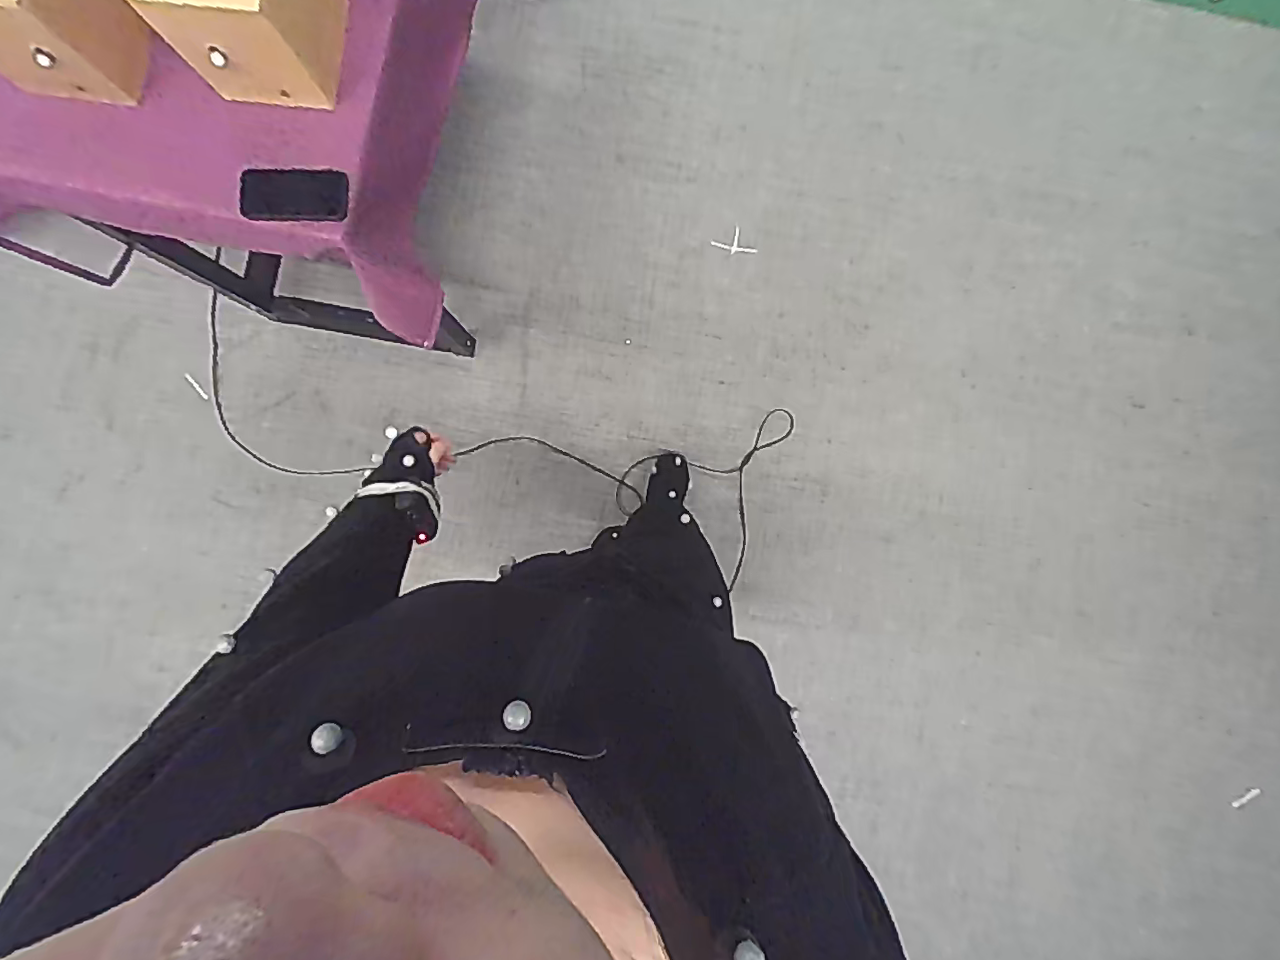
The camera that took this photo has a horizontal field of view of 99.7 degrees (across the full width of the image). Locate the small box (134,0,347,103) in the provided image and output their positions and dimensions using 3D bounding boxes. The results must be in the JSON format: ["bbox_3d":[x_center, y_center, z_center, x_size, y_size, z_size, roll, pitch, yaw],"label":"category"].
[{"bbox_3d":[-0.522,-0.651,0.726,0.168,0.176,0.179,5,86,-1],"label":"small box"}]
